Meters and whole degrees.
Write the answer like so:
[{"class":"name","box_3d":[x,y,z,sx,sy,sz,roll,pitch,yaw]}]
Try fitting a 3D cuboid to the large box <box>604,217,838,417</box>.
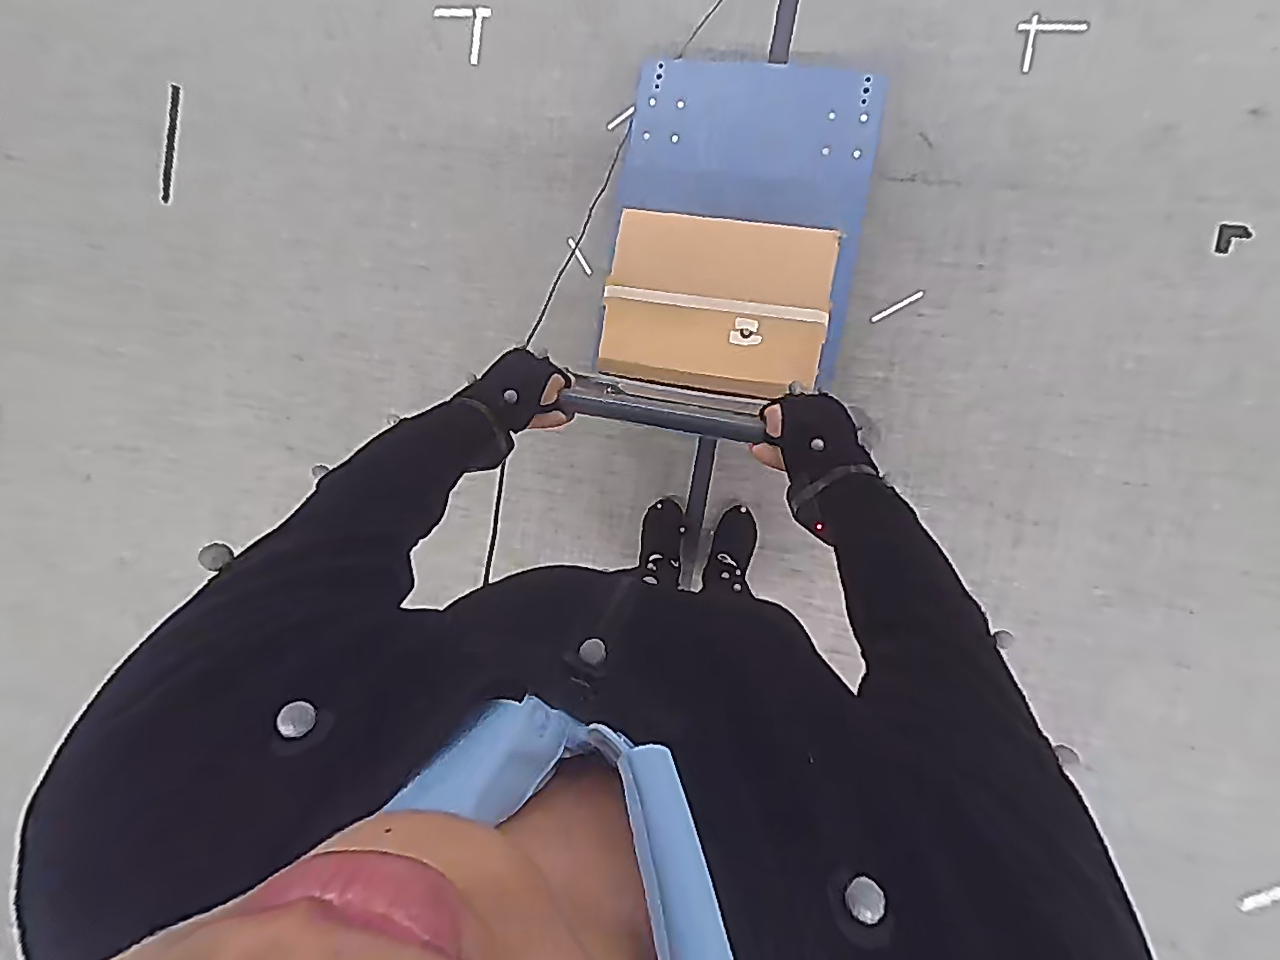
[{"class":"large box","box_3d":[0.163,-0.326,1.159,0.408,0.320,0.320,10,93,8]}]
